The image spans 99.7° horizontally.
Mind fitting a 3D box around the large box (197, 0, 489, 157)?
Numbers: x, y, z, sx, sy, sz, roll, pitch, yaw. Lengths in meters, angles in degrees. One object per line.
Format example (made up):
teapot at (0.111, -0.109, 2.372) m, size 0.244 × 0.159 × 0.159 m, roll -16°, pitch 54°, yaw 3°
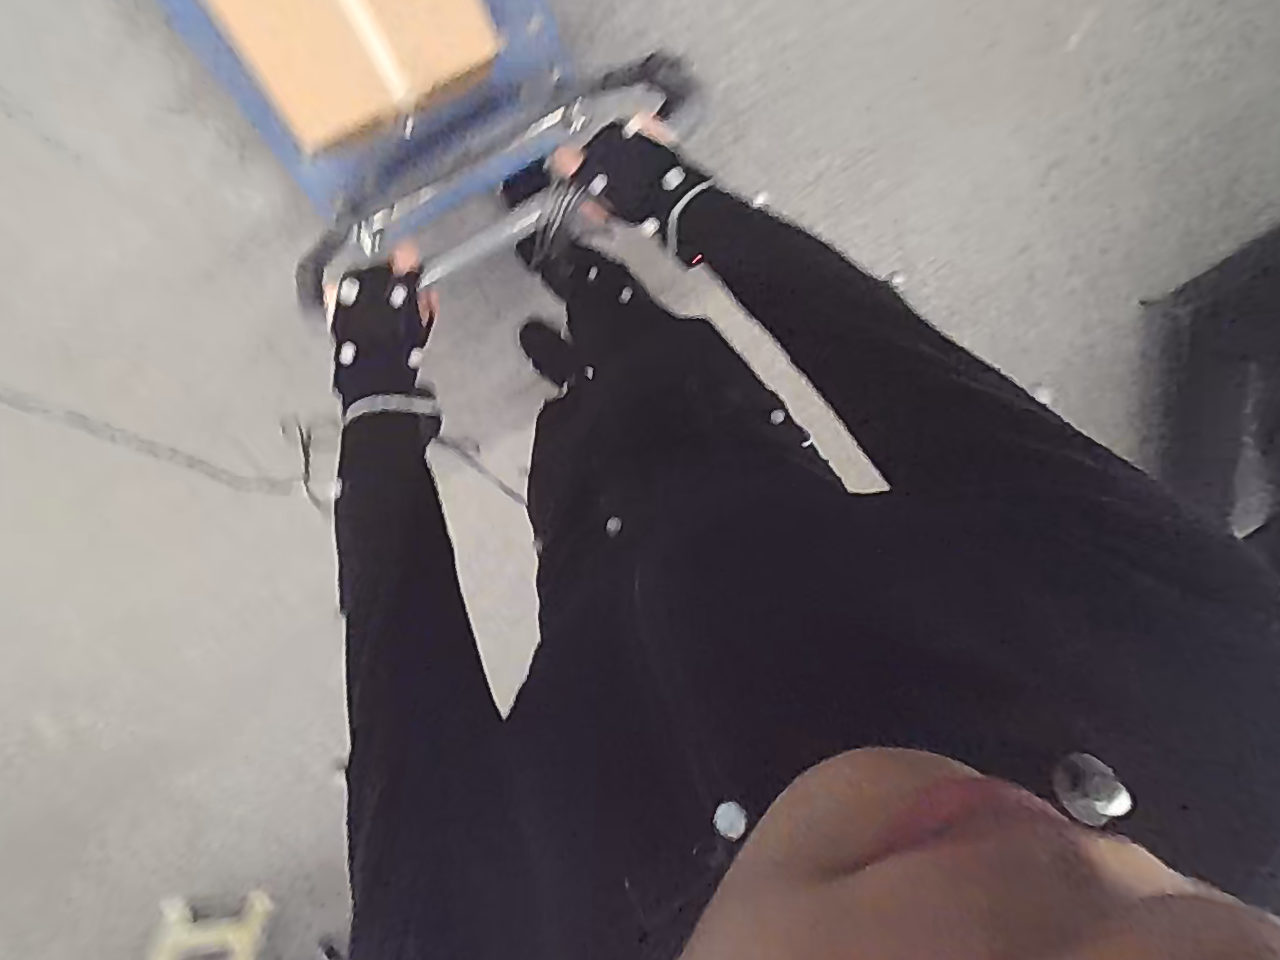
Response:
large box at (-0.459, -0.749, 0.777) m, size 0.320 × 0.320 × 0.408 m, roll -29°, pitch 122°, yaw -2°
